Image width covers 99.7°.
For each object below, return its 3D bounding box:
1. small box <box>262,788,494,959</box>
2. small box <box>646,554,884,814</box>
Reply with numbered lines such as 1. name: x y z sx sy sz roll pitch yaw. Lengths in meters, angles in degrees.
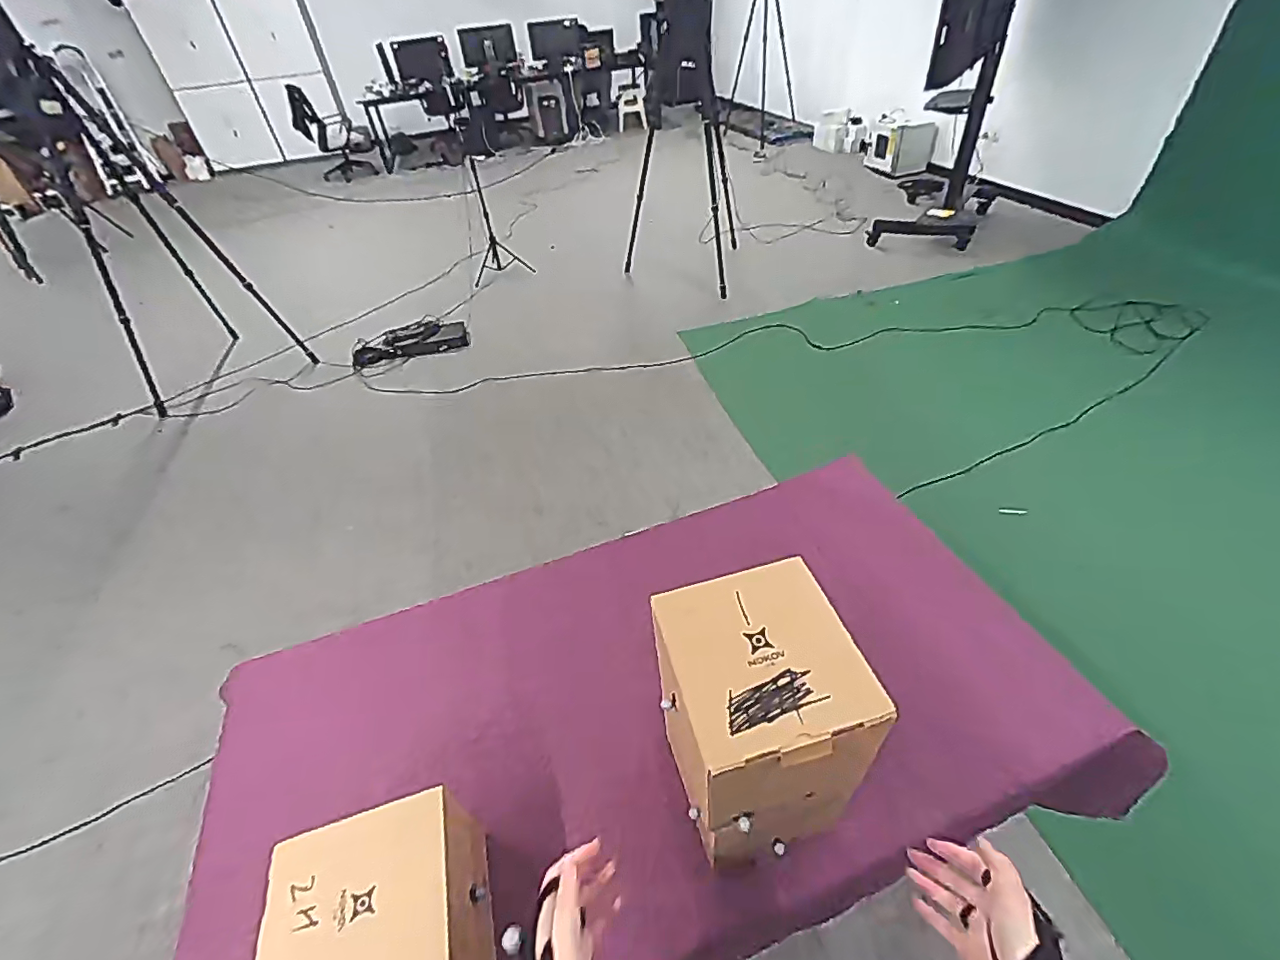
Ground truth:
1. small box: -0.263 0.467 0.575 0.179 0.176 0.168 -16 43 -9
2. small box: 0.113 0.210 0.549 0.168 0.176 0.179 -14 42 -7
